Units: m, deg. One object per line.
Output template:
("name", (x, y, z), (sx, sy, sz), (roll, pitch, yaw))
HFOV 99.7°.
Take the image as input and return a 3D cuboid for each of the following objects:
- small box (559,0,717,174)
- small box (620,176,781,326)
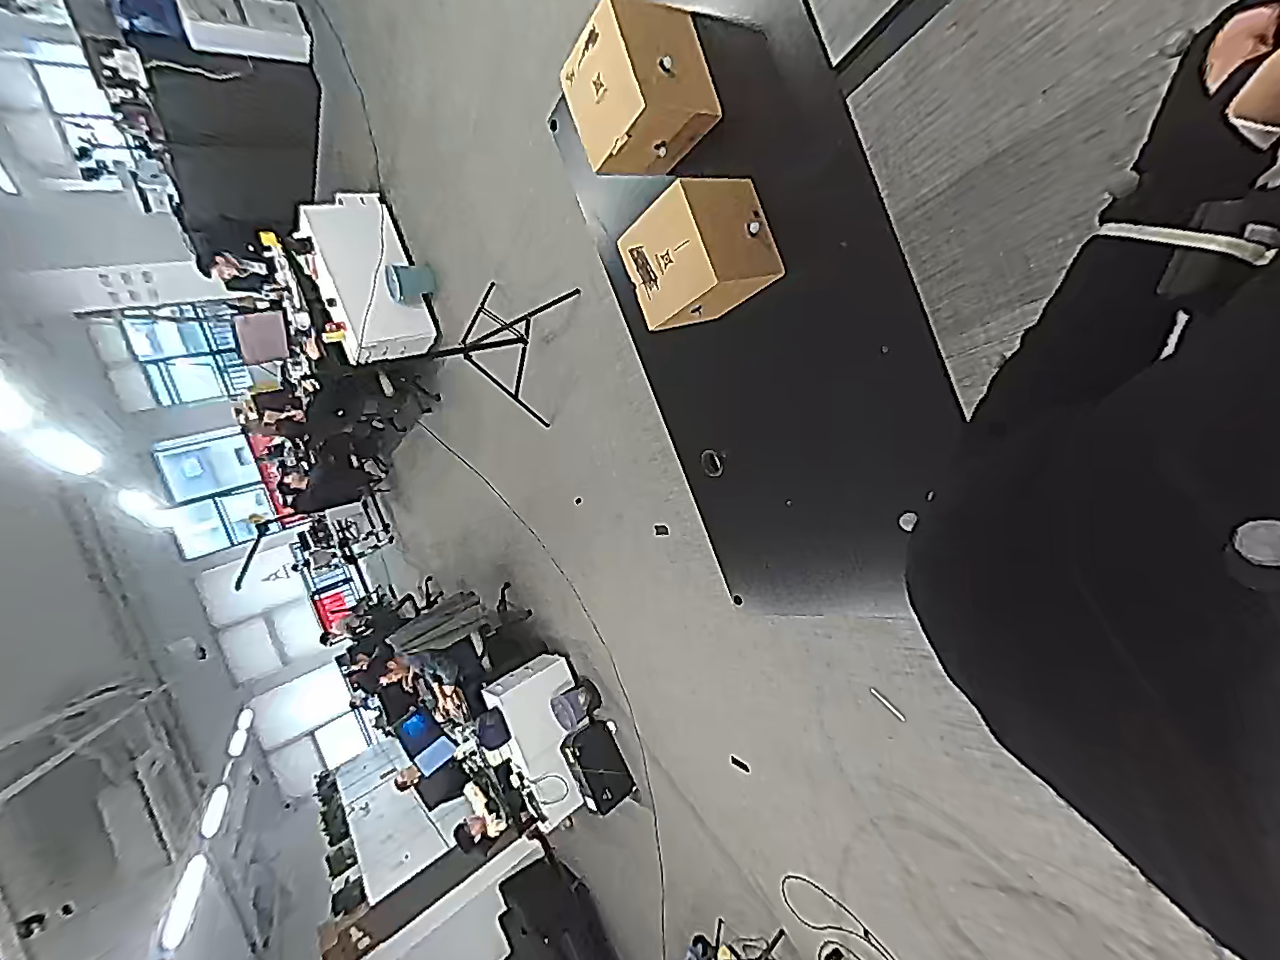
("small box", (0.000, -0.639, 0.890), (0.168, 0.176, 0.179), (-14, 98, 56))
("small box", (0.100, -0.376, 0.902), (0.179, 0.176, 0.168), (-18, 94, 55))
